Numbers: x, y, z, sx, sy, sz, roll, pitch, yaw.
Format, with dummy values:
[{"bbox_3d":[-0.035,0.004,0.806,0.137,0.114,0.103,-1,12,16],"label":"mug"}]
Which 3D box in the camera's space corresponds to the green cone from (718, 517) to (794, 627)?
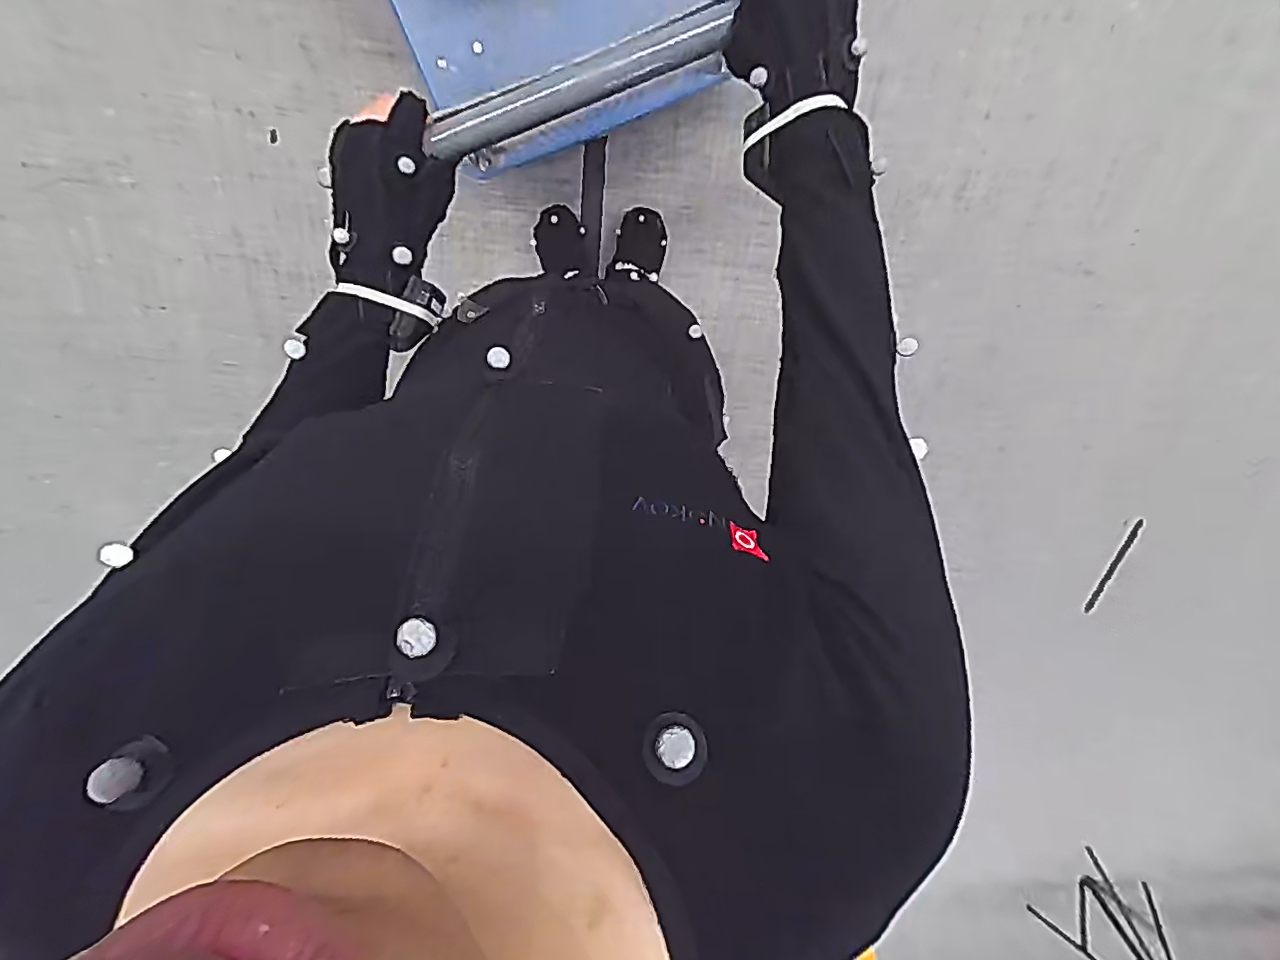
[{"bbox_3d":[0.372,0.291,1.590,0.202,0.368,0.200,7,119,-8],"label":"green cone"}]
